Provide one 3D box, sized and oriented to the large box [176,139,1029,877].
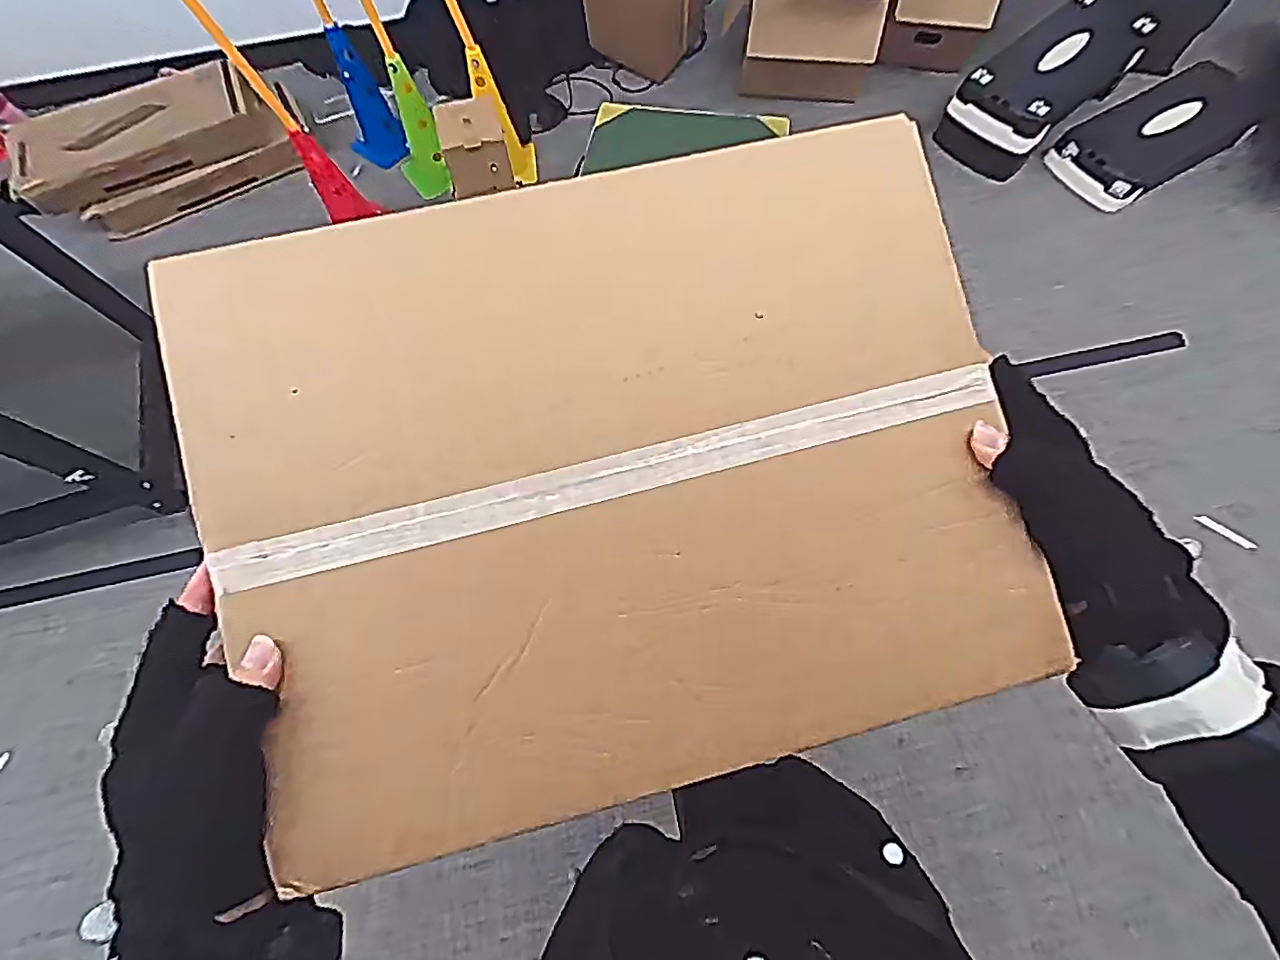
[{"bbox_3d":[-0.021,0.008,0.434,0.408,0.320,0.320,-14,86,-5],"label":"large box"}]
